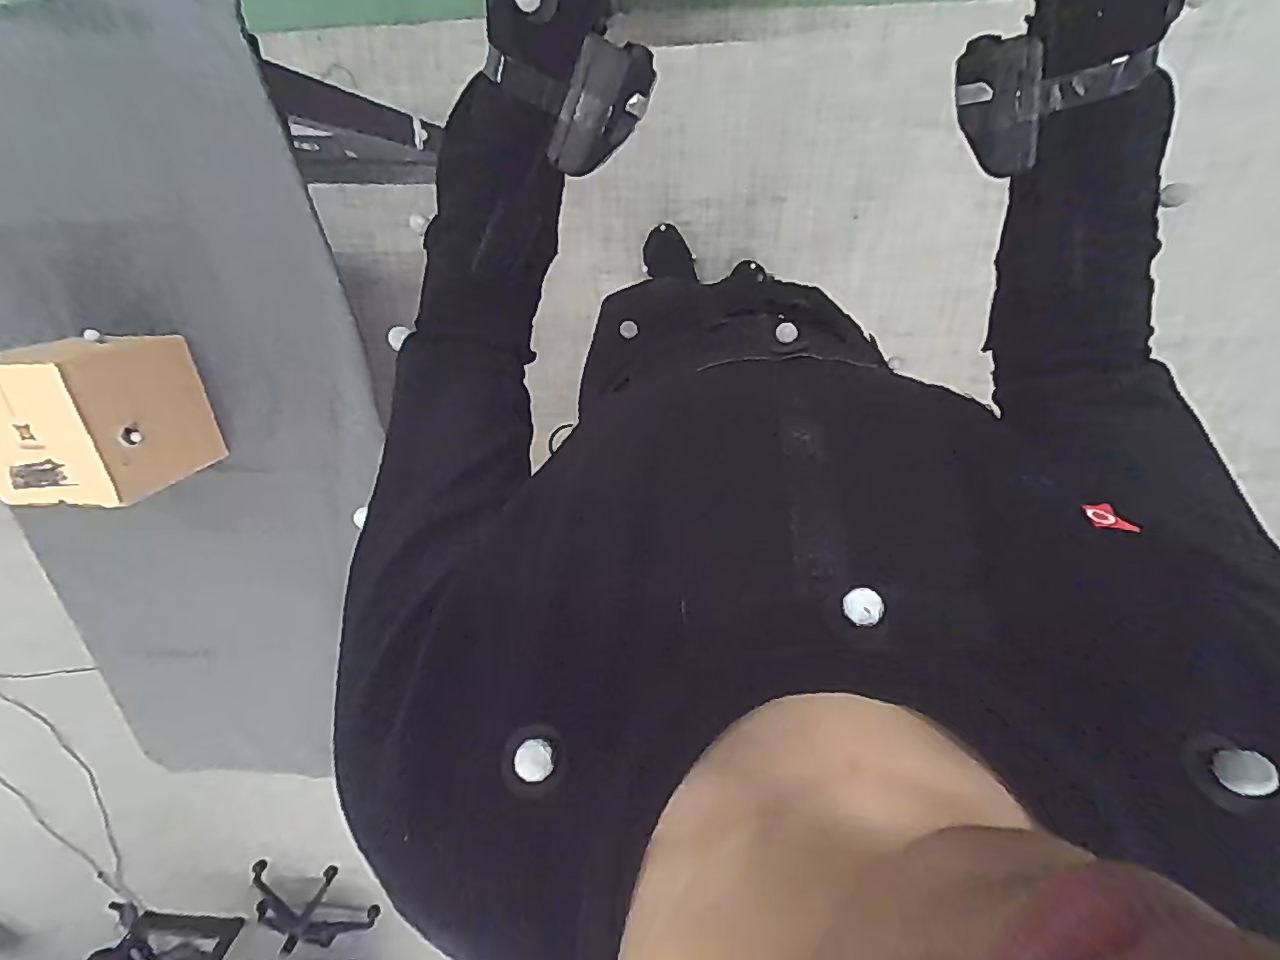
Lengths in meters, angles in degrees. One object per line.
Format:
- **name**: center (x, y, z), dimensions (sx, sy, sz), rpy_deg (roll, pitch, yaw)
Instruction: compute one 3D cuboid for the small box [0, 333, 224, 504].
- **small box**: center (-0.694, -0.085, 0.698), dimensions (0.168, 0.176, 0.179), rpy_deg (1, 115, 5)
